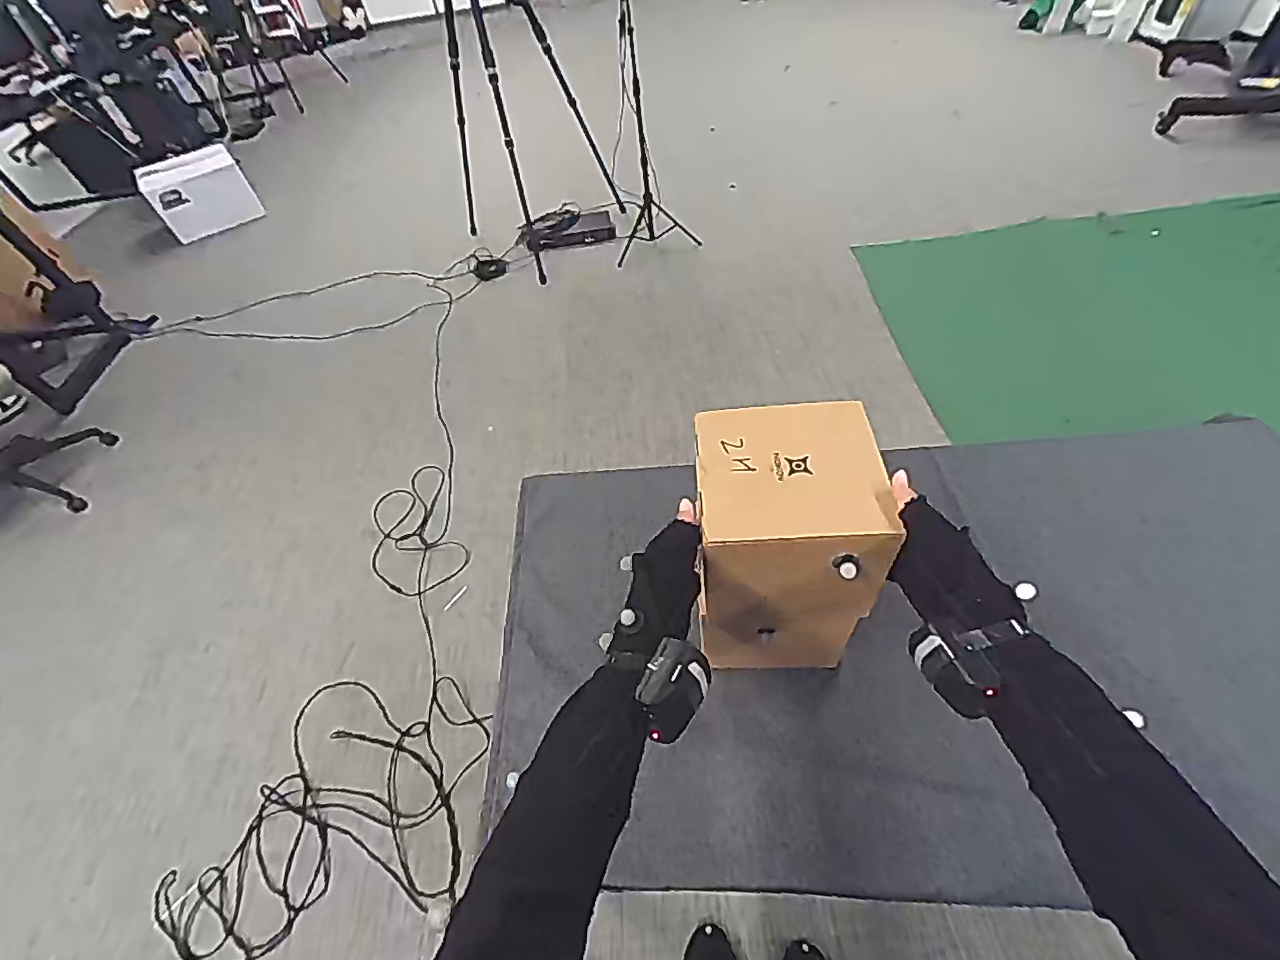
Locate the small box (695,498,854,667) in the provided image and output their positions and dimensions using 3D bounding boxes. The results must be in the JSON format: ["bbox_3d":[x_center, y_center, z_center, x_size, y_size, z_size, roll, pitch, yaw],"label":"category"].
[{"bbox_3d":[0.165,0.141,0.721,0.179,0.176,0.168,-2,51,6],"label":"small box"}]
